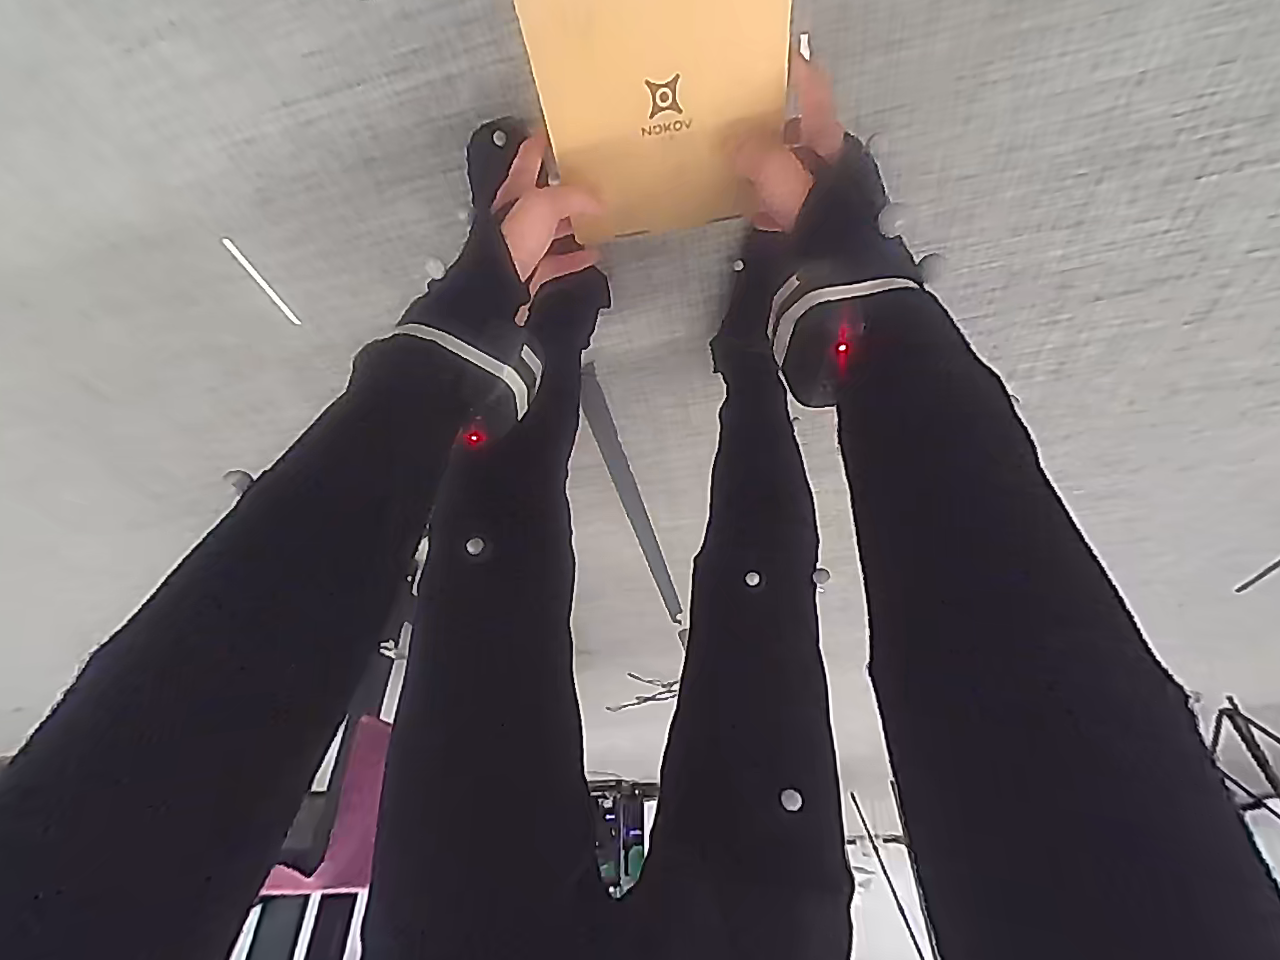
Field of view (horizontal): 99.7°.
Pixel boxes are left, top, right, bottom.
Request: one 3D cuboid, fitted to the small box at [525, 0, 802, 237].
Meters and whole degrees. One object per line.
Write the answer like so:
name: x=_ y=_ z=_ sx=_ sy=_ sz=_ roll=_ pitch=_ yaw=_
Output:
small box: x=0.019 y=-0.319 z=0.405 sx=0.168 sy=0.176 sz=0.179 roll=-7 pitch=145 yaw=7
